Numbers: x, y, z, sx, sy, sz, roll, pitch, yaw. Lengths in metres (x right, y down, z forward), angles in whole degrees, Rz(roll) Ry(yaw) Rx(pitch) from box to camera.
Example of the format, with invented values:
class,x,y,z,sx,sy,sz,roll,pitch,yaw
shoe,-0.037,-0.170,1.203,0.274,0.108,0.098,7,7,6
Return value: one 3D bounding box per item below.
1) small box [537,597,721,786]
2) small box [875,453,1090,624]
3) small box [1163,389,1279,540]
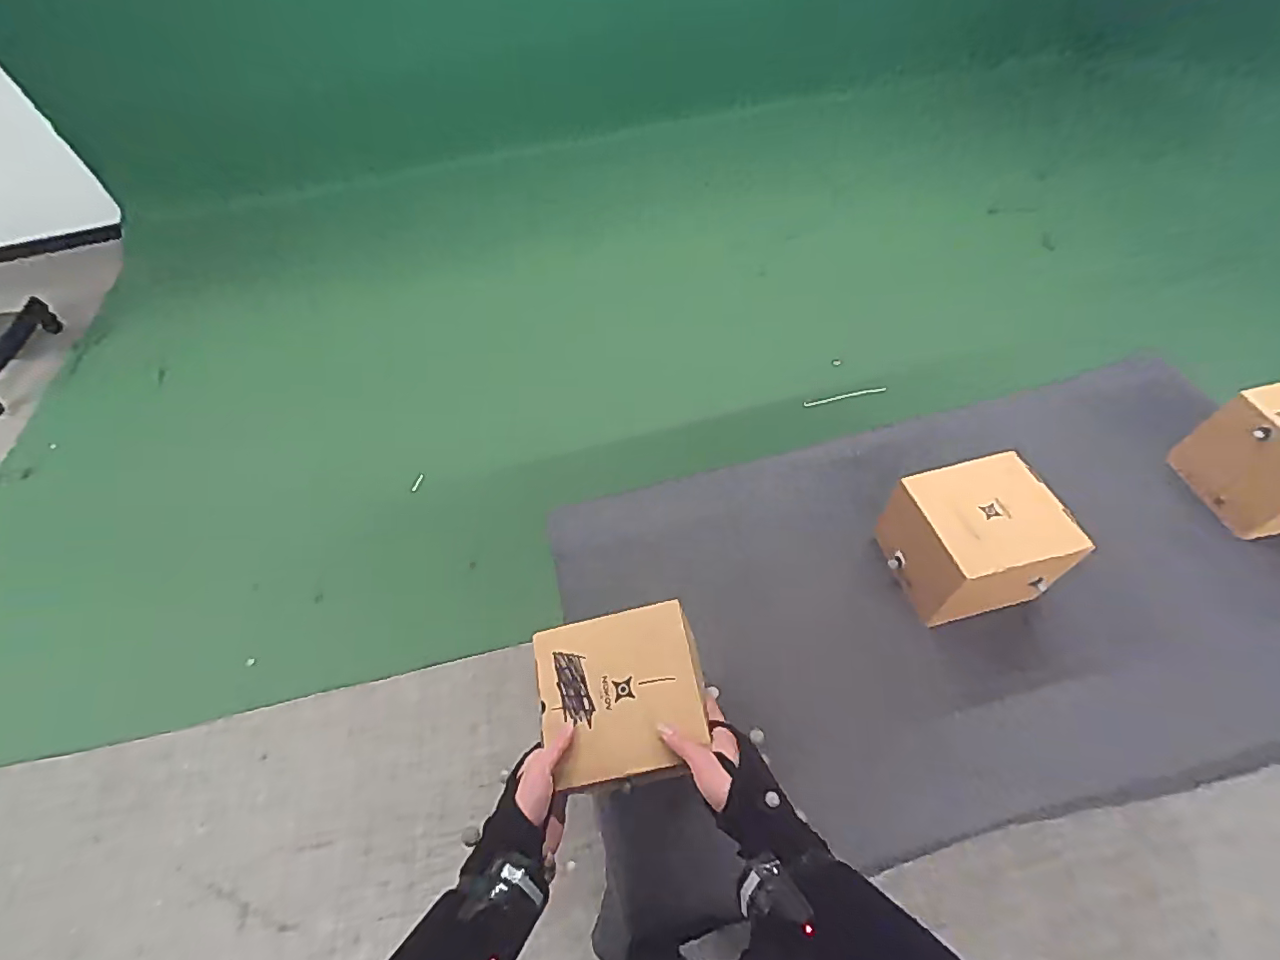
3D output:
class,x,y,z,sx,sy,sz,roll,pitch,yaw
small box,-0.008,0.256,0.638,0.179,0.176,0.168,-13,60,3
small box,0.478,0.089,0.789,0.179,0.176,0.168,-14,55,-4
small box,0.982,-0.026,0.824,0.179,0.176,0.168,-9,56,-2
